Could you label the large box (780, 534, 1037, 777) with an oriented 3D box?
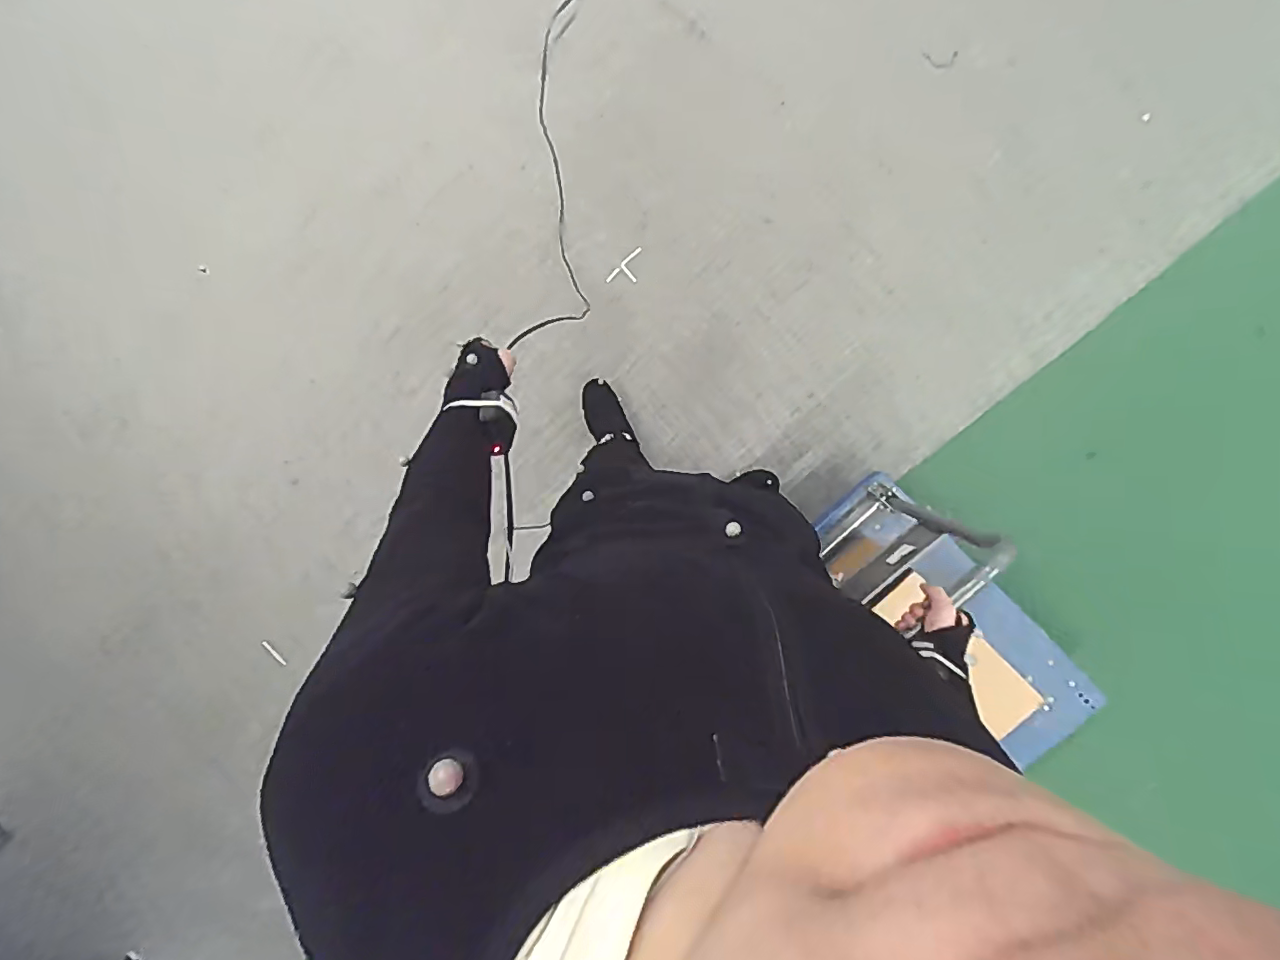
[{"bbox_3d":[0.611,0.399,1.313,0.408,0.320,0.320,44,99,-2],"label":"large box"}]
